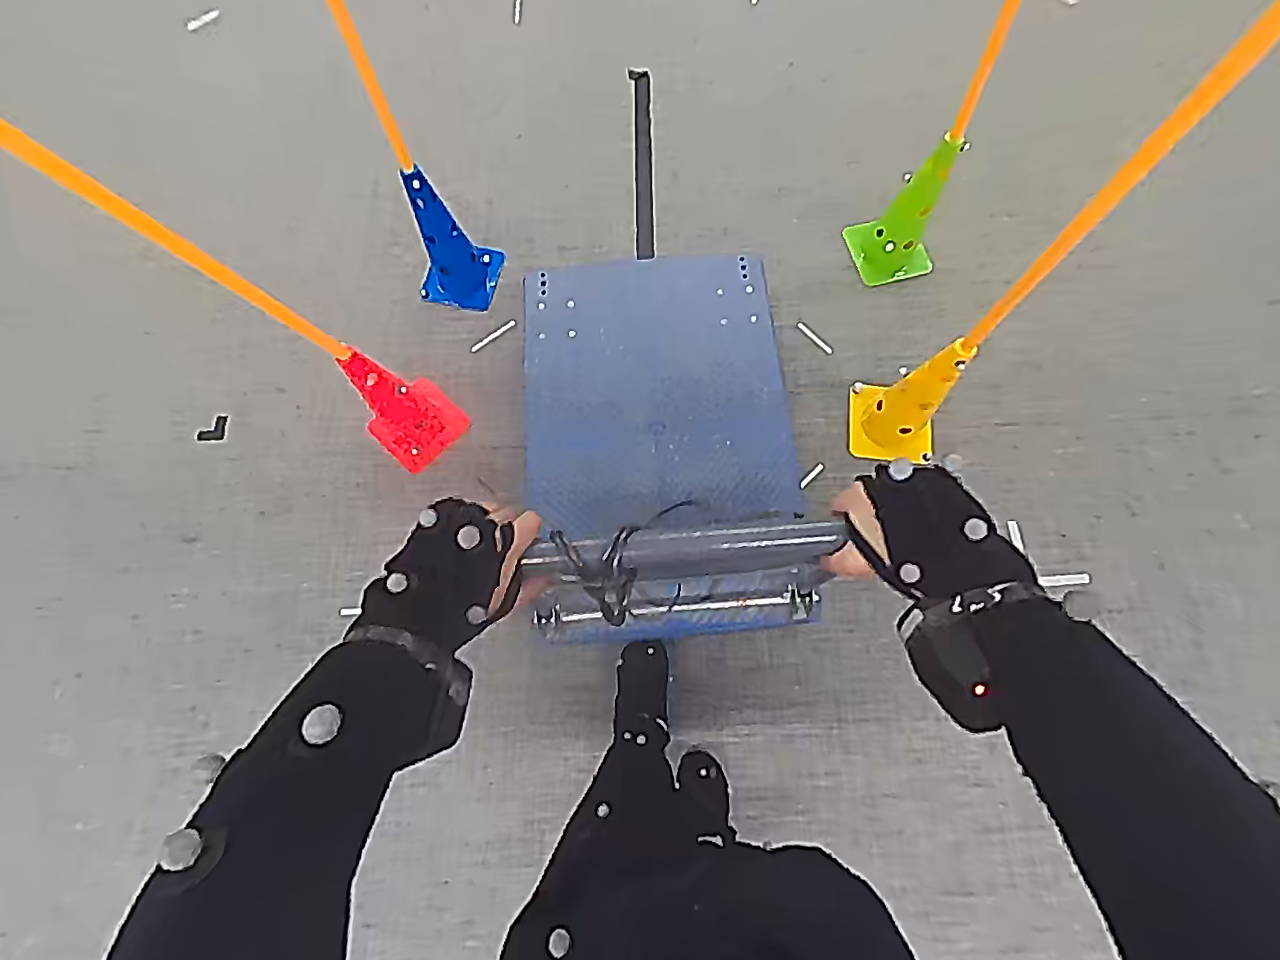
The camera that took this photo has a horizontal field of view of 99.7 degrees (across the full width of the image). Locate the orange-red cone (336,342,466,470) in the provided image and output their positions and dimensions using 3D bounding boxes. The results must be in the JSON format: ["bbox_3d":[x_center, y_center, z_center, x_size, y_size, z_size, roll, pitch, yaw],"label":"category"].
[{"bbox_3d":[-0.566,-0.197,1.206,0.198,0.360,0.199,43,77,12],"label":"orange-red cone"}]

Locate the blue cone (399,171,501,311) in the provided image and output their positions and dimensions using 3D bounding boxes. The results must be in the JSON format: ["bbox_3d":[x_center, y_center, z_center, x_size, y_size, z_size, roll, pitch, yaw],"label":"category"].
[{"bbox_3d":[-0.497,-0.611,1.349,0.193,0.380,0.192,13,74,5],"label":"blue cone"}]

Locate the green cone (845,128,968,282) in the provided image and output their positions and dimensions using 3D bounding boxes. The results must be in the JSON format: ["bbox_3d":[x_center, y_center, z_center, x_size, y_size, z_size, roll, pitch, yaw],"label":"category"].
[{"bbox_3d":[0.681,-0.693,1.328,0.200,0.368,0.202,-15,74,-3],"label":"green cone"}]
